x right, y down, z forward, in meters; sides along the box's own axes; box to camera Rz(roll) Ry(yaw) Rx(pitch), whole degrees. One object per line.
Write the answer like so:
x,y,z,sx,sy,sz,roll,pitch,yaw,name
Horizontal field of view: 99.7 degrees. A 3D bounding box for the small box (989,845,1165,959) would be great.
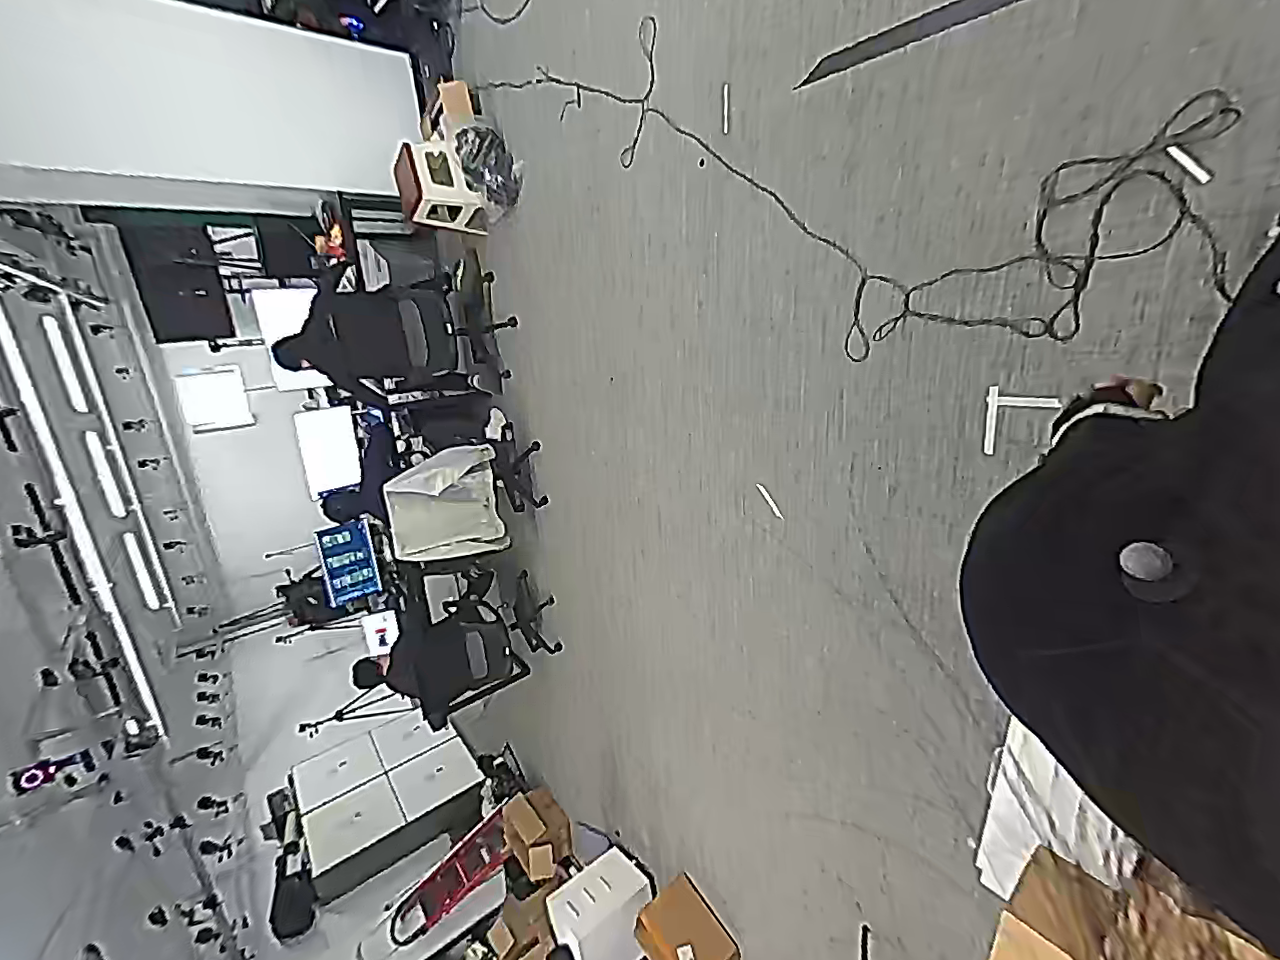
0.675,0.727,0.841,0.168,0.176,0.179,21,120,48,small box
